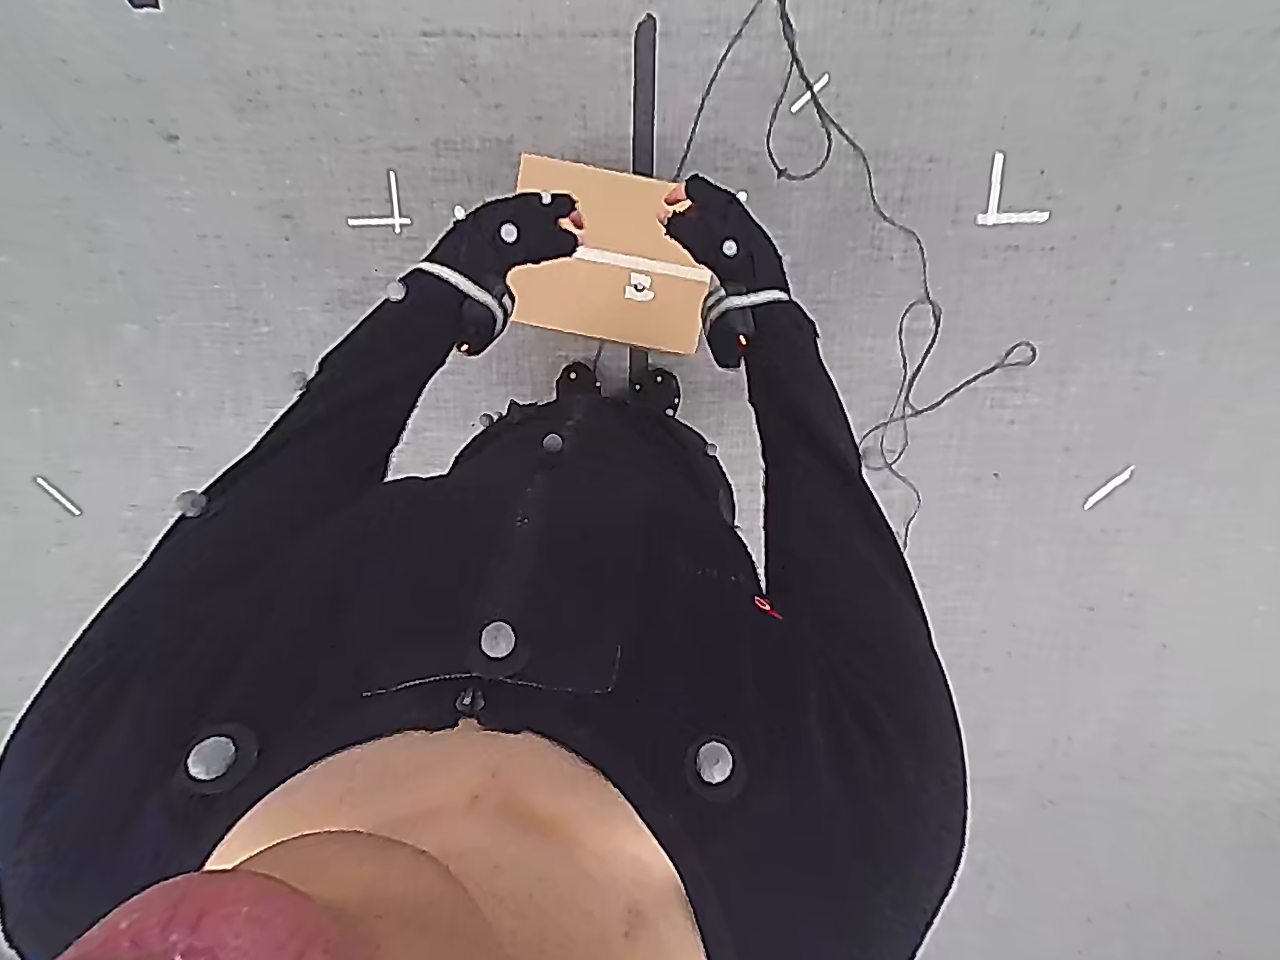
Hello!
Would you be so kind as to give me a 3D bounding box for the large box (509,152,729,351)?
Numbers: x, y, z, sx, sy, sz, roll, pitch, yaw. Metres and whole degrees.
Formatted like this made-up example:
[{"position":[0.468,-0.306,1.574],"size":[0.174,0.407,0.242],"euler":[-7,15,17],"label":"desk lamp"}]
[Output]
[{"position":[-0.048,-0.479,1.212],"size":[0.408,0.320,0.320],"euler":[10,102,-2],"label":"large box"}]
